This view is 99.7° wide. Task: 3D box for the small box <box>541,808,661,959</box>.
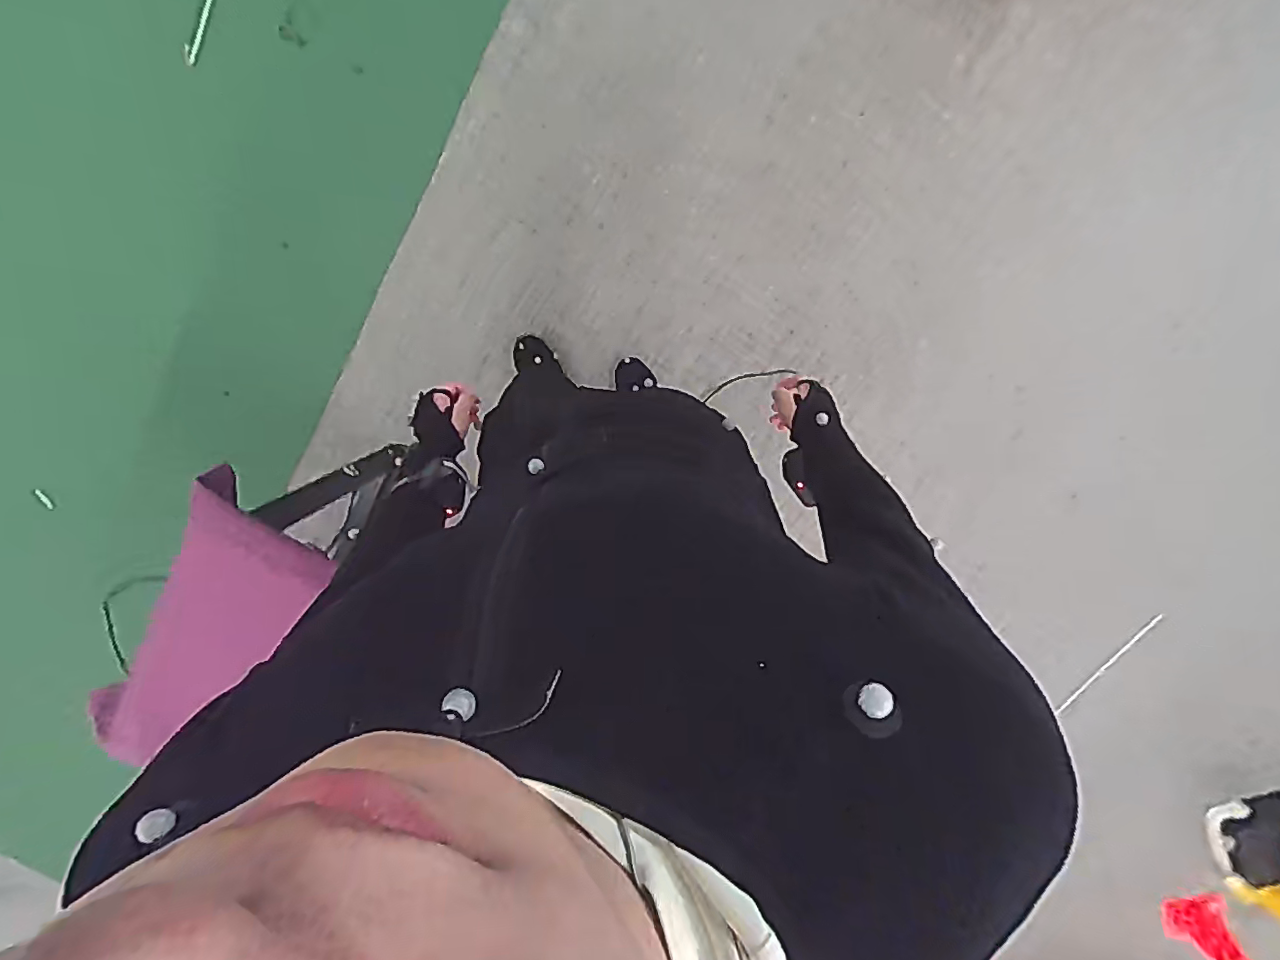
[{"bbox_3d":[-0.066,0.790,1.047,0.168,0.176,0.179,29,106,-5],"label":"small box"}]
